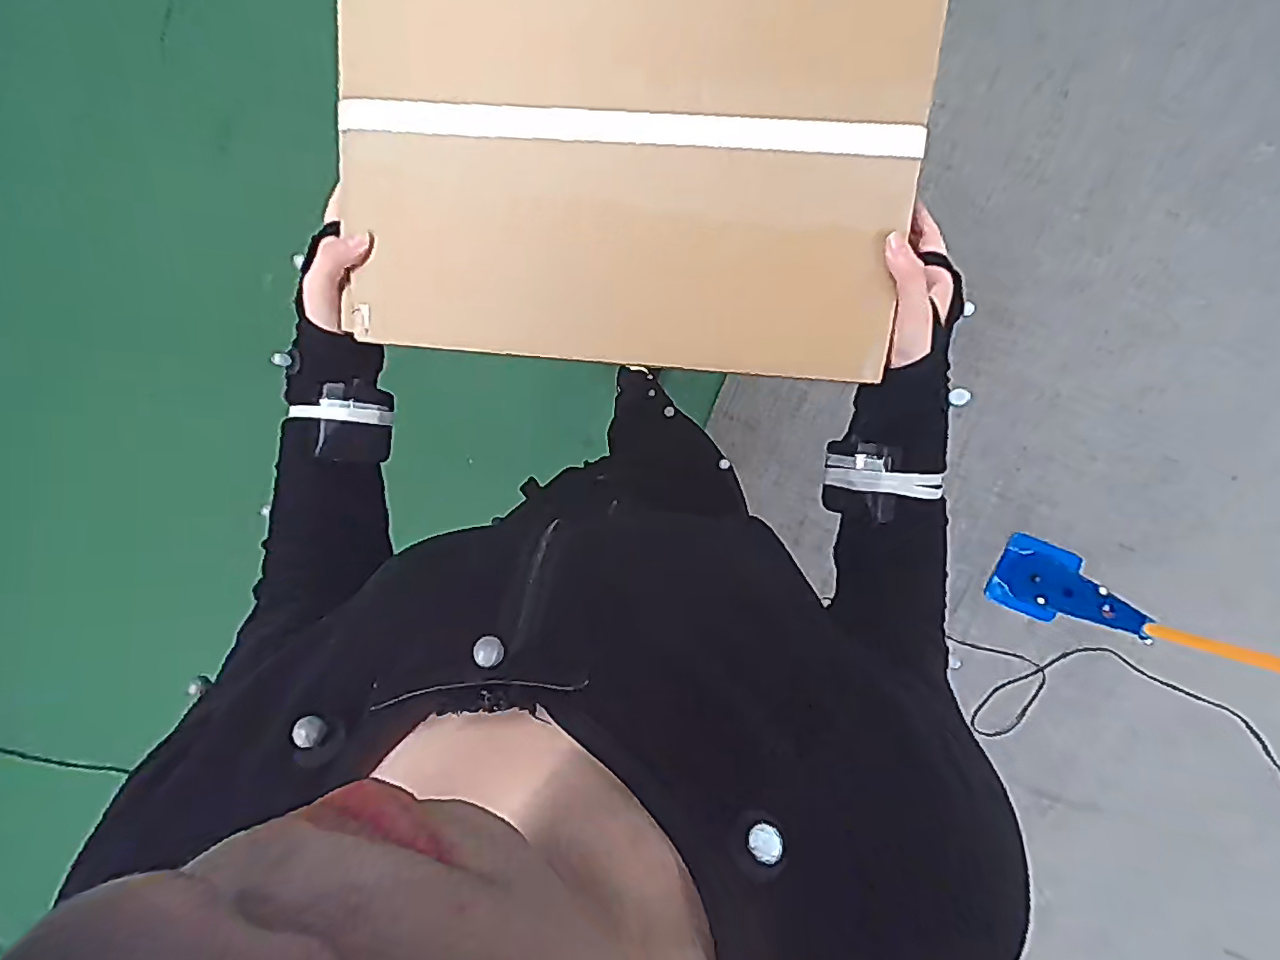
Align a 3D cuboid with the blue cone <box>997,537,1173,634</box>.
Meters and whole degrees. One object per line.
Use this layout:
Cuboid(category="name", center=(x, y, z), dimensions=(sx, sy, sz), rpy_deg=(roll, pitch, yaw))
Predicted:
Cuboid(category="blue cone", center=(1.052, 0.274, 1.272), dimensions=(0.192, 0.380, 0.193), rpy_deg=(20, 96, 0))
